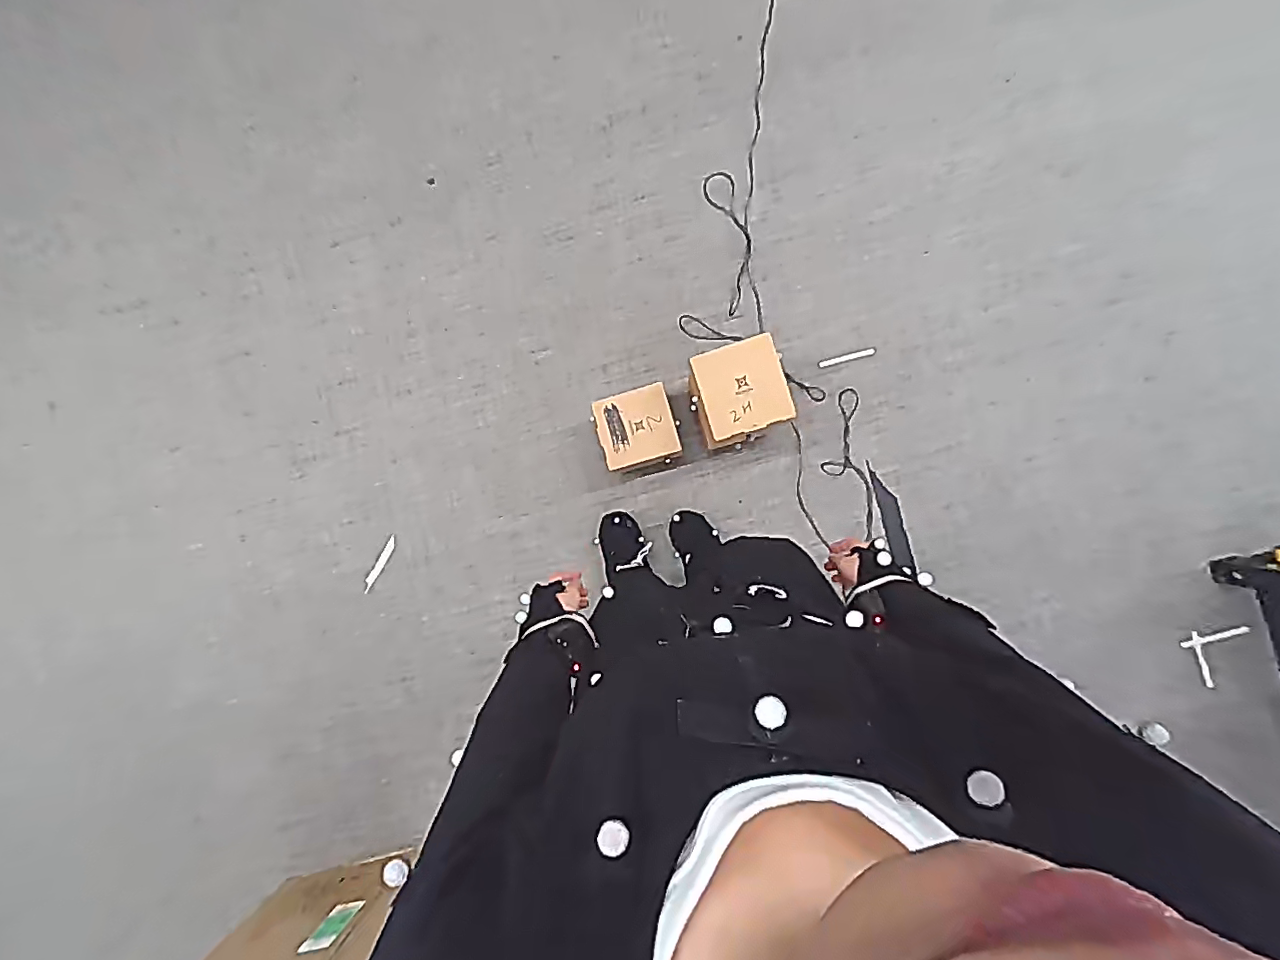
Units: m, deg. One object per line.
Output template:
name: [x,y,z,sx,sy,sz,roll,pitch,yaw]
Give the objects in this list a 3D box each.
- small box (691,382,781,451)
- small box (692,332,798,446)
small box: [0.219,-0.177,1.285,0.168,0.176,0.179,-15,89,4]
small box: [0.207,-0.180,1.120,0.168,0.176,0.179,-17,88,5]
